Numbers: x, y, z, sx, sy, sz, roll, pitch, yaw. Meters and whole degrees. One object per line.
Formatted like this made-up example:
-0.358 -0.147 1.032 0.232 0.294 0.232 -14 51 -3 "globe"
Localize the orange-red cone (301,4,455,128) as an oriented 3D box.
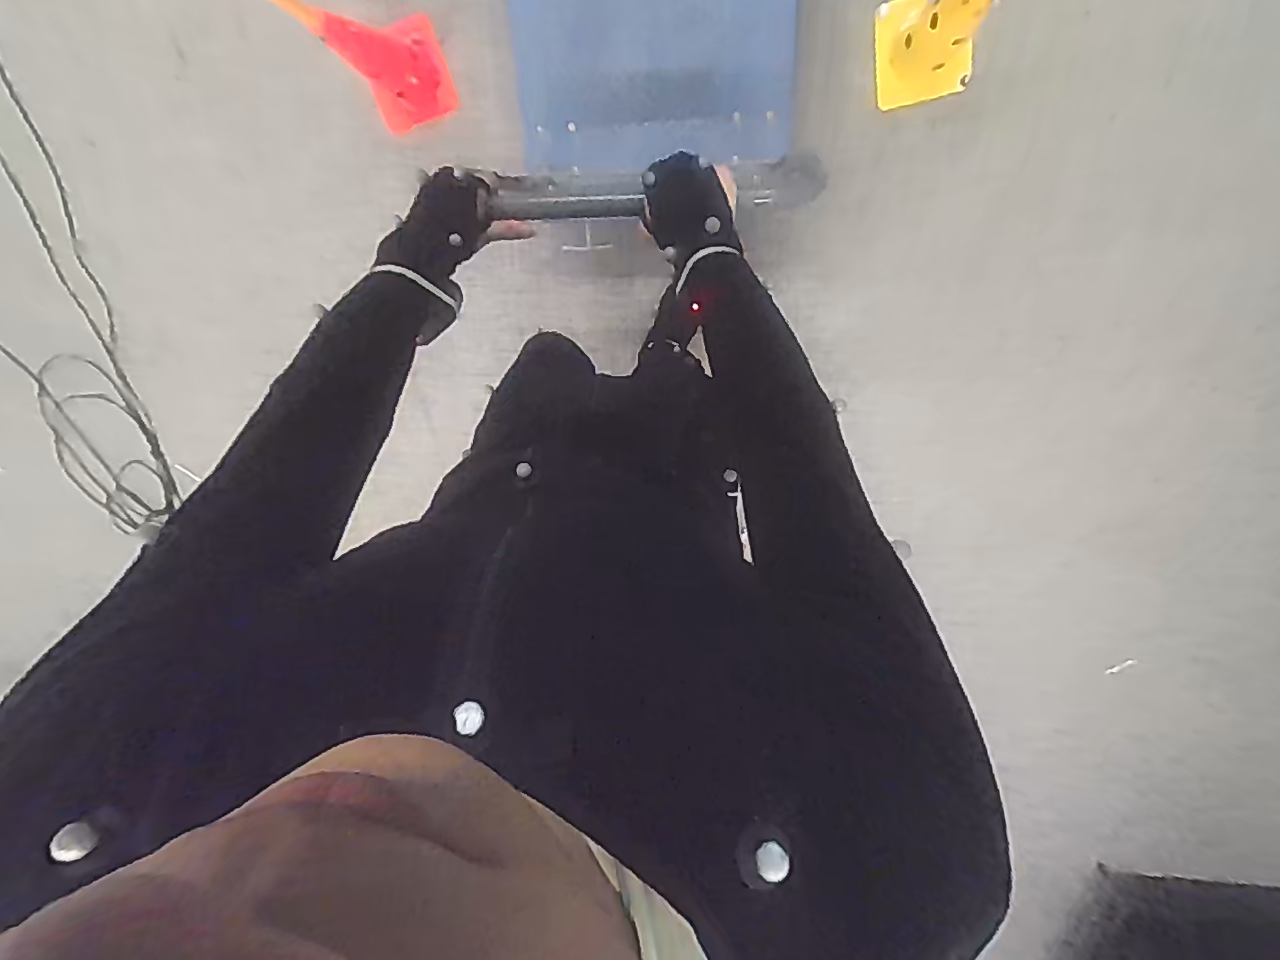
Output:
-0.578 -0.907 1.138 0.199 0.360 0.198 -12 111 13 "orange-red cone"
